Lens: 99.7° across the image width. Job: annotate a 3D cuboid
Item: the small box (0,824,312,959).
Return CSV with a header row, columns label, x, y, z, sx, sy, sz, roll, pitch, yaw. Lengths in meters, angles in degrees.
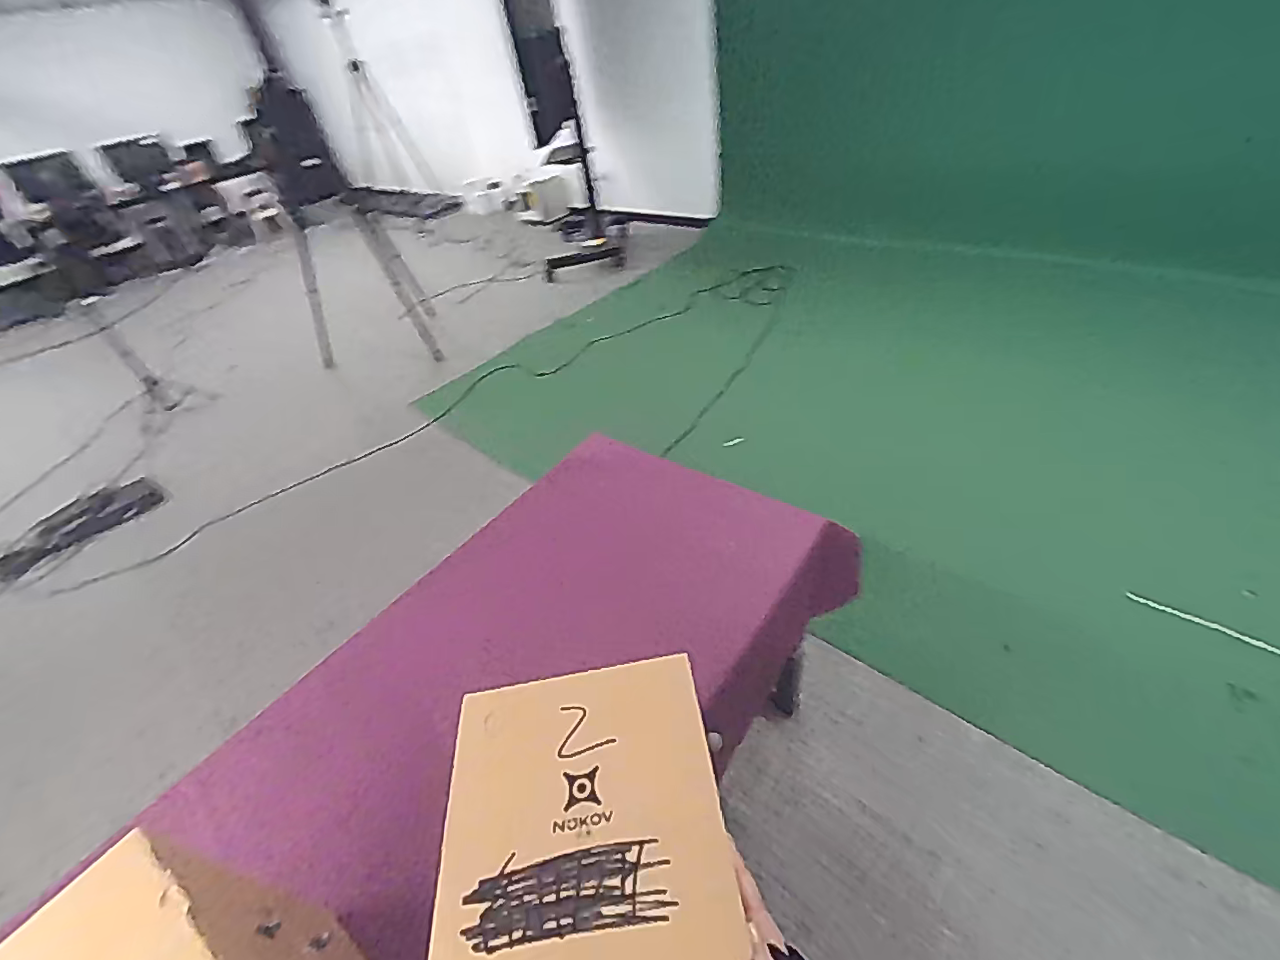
label,x,y,z,sx,sy,sz,roll,pitch,yaw
small box,-0.395,0.424,0.419,0.168,0.176,0.179,19,47,29
